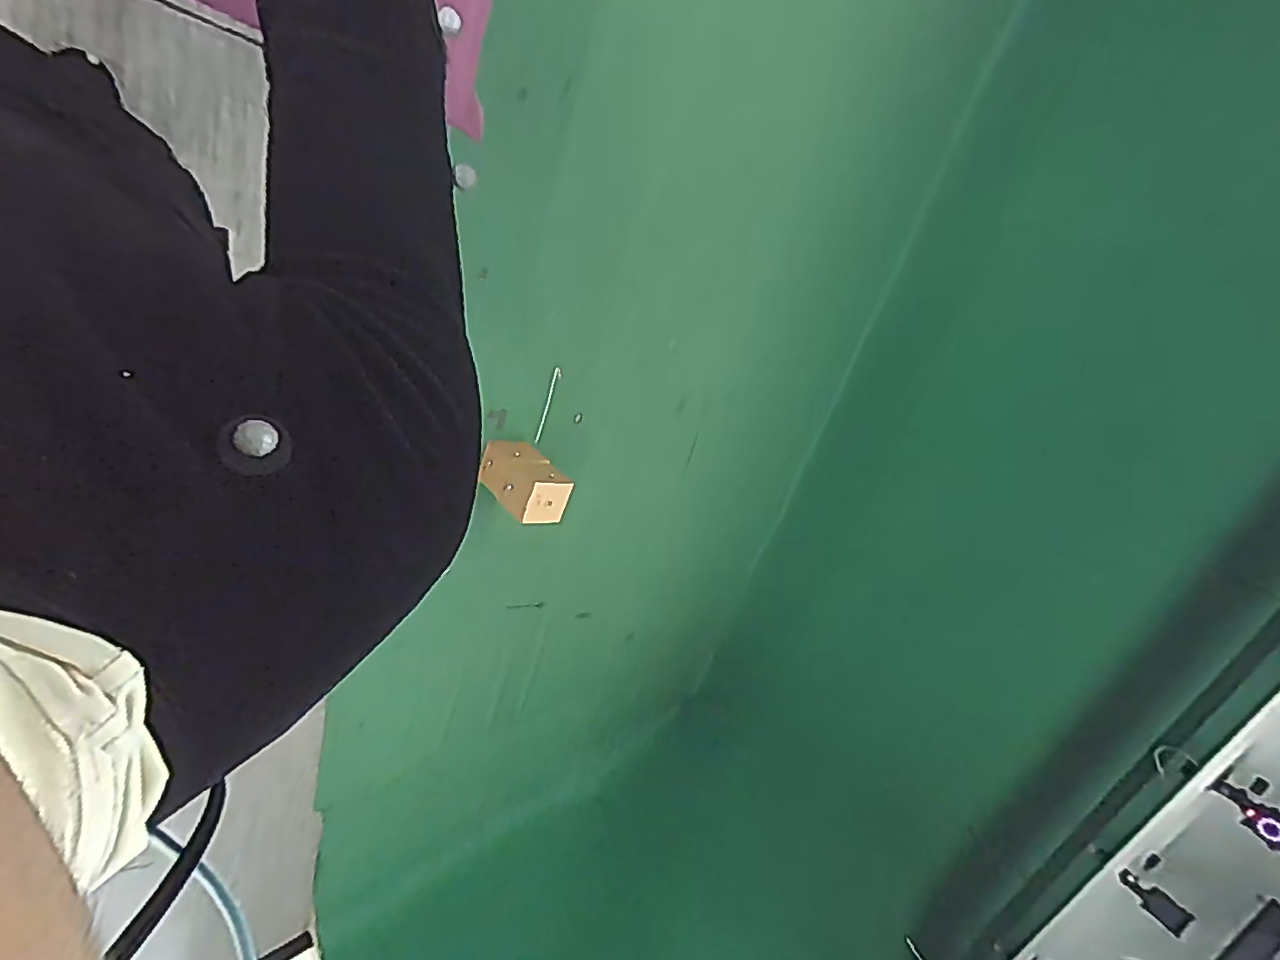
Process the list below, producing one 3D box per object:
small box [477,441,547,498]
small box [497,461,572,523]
[{"bbox_3d":[-0.488,-0.040,2.052,0.179,0.176,0.168,0,118,-48],"label":"small box"},{"bbox_3d":[-0.384,0.042,1.954,0.179,0.176,0.168,3,116,-49],"label":"small box"}]
